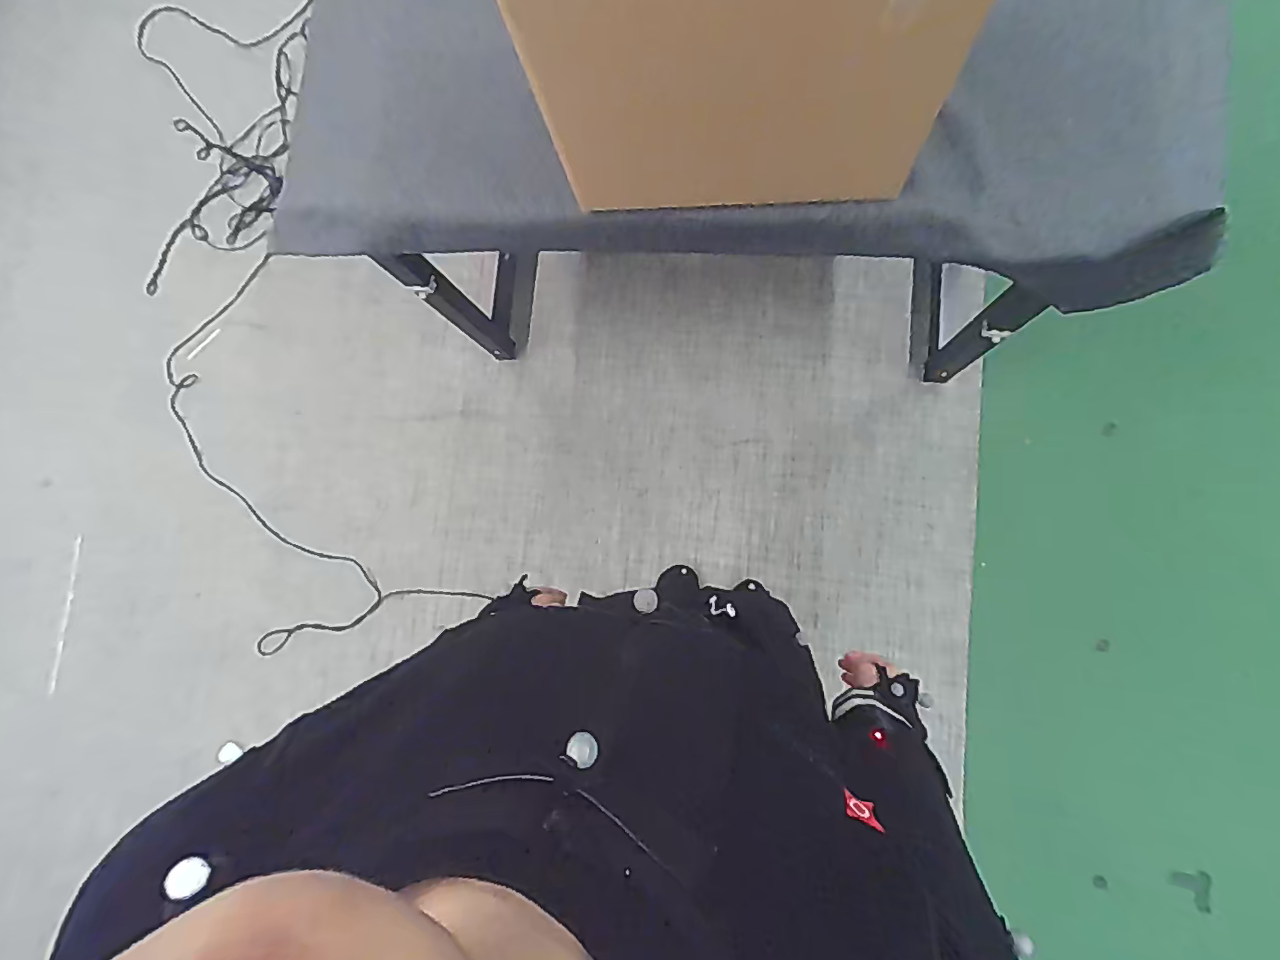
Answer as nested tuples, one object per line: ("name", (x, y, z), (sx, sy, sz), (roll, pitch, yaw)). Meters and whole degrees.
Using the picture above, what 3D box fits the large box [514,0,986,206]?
("large box", (0.105, -0.532, 0.572), (0.408, 0.320, 0.320), (1, 83, 7))
